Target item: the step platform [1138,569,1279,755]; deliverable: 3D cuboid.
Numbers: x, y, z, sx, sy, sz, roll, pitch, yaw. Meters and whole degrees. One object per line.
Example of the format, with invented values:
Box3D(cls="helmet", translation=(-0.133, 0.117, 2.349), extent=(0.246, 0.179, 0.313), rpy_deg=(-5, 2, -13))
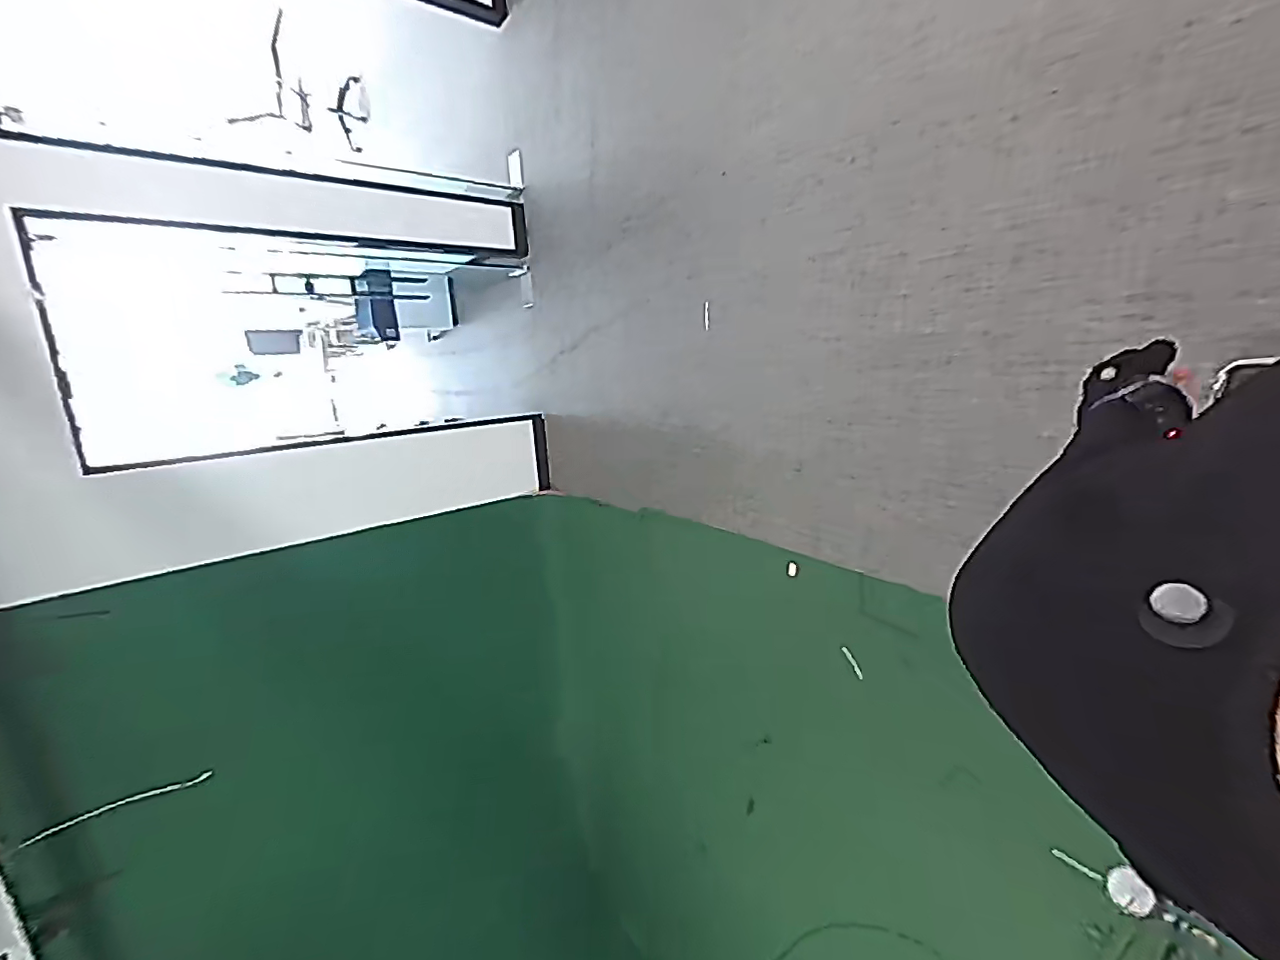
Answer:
Box3D(cls="step platform", translation=(1.163, 0.346, 0.742), extent=(0.684, 0.204, 0.286), rpy_deg=(12, 109, 49))
